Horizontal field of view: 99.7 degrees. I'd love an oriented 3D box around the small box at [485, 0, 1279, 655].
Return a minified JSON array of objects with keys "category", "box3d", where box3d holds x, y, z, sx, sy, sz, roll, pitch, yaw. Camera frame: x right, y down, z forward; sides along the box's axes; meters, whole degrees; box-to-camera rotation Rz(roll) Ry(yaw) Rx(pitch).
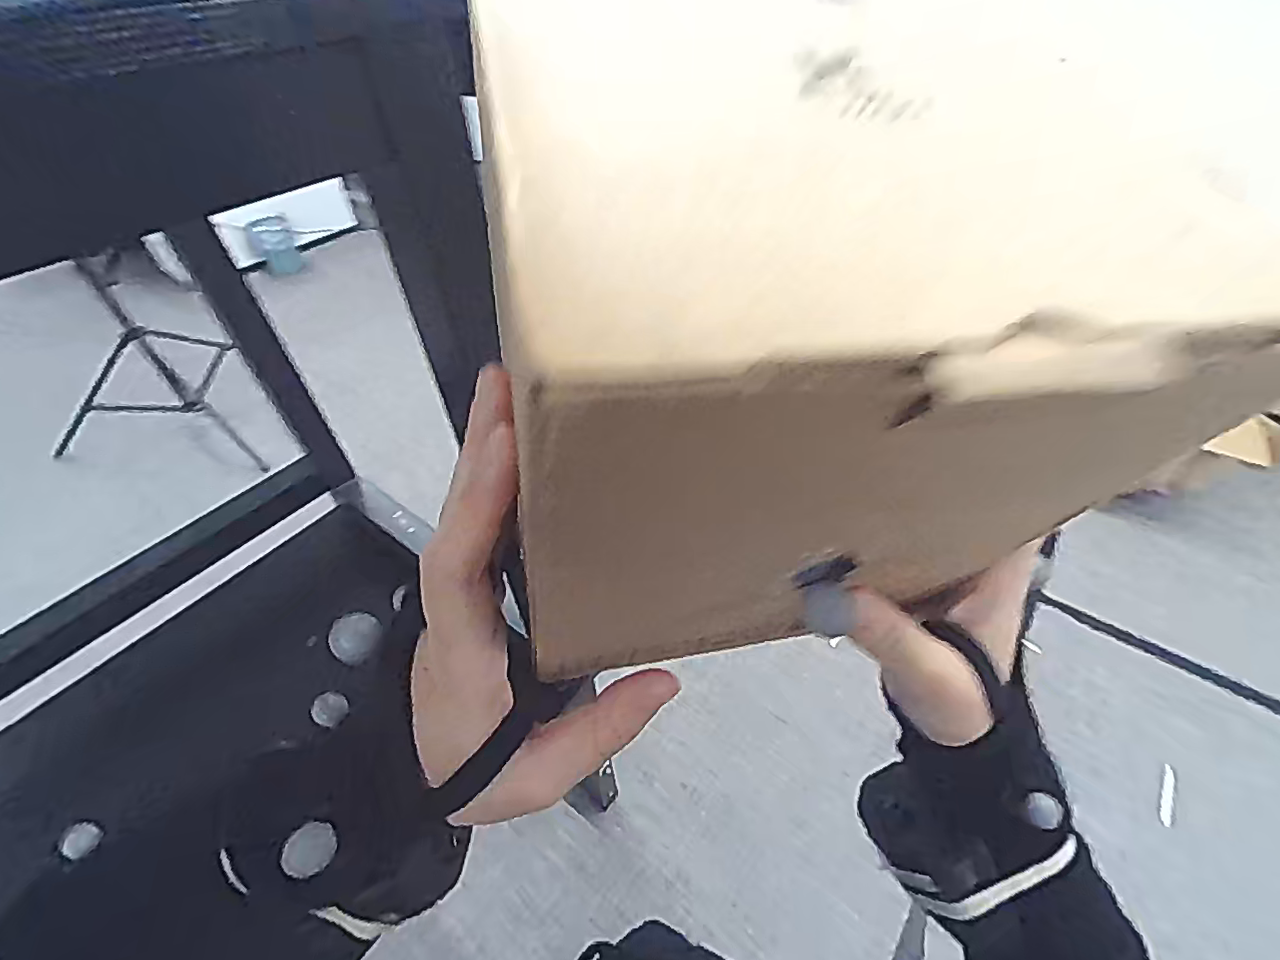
[{"category":"small box","box3d":[0.036,-0.043,0.203,0.168,0.176,0.179,-4,59,-13]}]
